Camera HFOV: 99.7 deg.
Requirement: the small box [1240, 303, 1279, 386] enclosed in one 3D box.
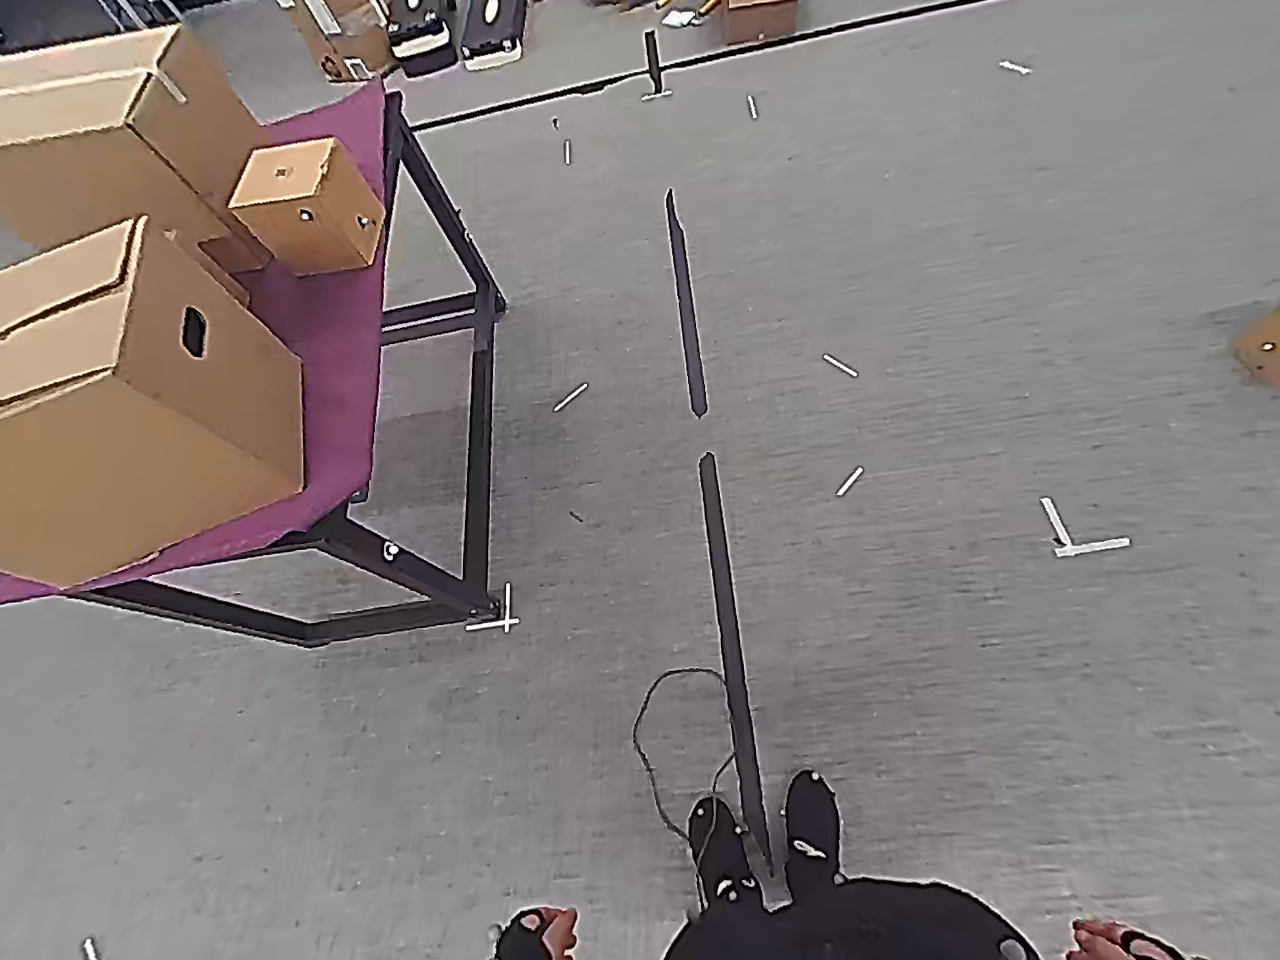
[{"bbox_3d":[1.721,-0.361,1.383,0.179,0.176,0.168,-12,64,4],"label":"small box"}]
